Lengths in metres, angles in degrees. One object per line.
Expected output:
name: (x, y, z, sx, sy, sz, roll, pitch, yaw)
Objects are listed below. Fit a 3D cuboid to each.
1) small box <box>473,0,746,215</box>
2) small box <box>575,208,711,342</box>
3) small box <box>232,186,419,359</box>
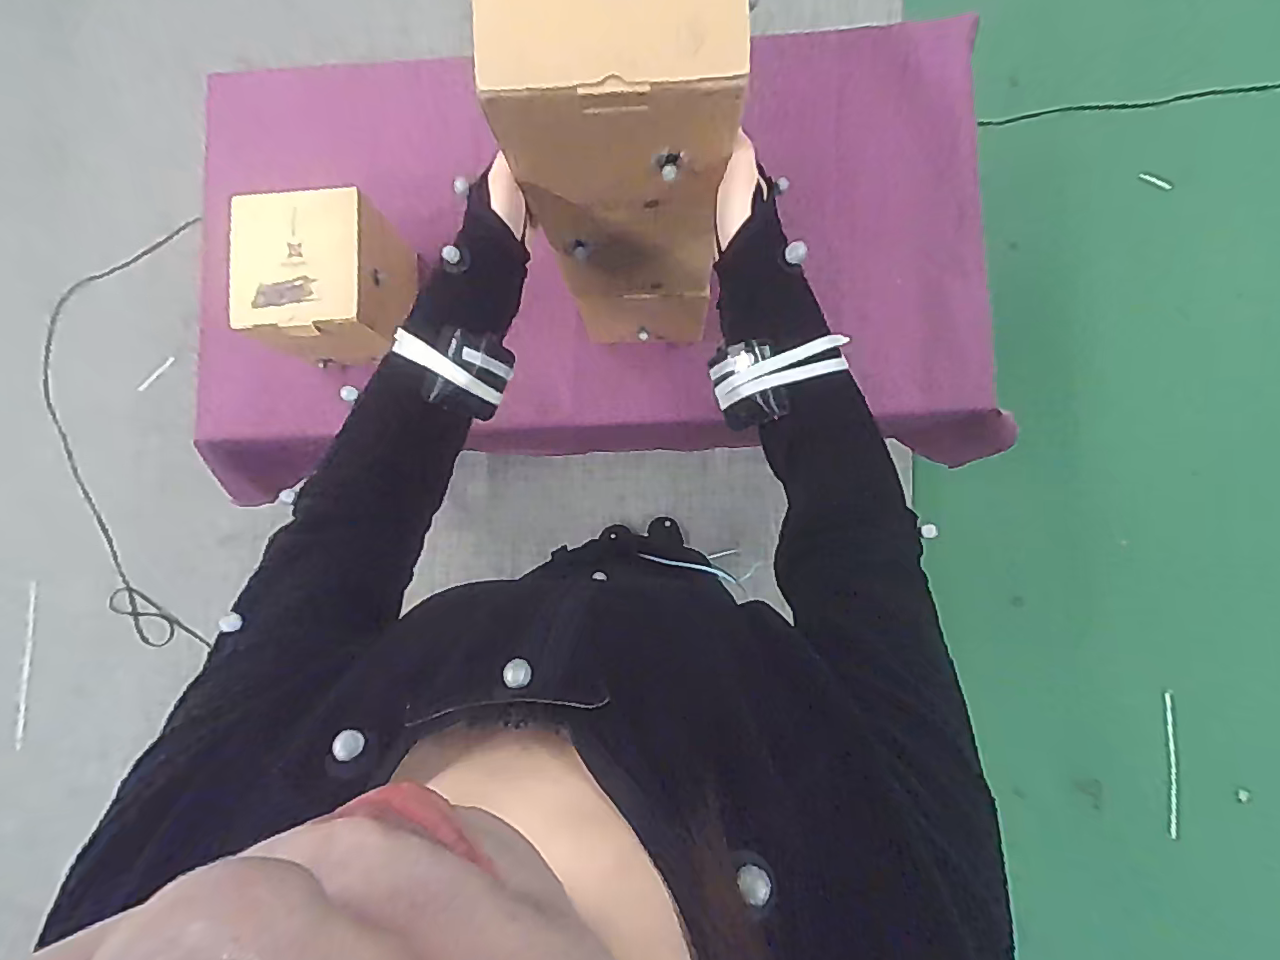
small box: (-0.016, -0.314, 0.399, 0.168, 0.176, 0.179, -1, 91, 1)
small box: (0.008, -0.302, 0.736, 0.168, 0.176, 0.179, 1, 86, 3)
small box: (-0.425, -0.274, 0.756, 0.168, 0.176, 0.179, -3, 85, 2)
